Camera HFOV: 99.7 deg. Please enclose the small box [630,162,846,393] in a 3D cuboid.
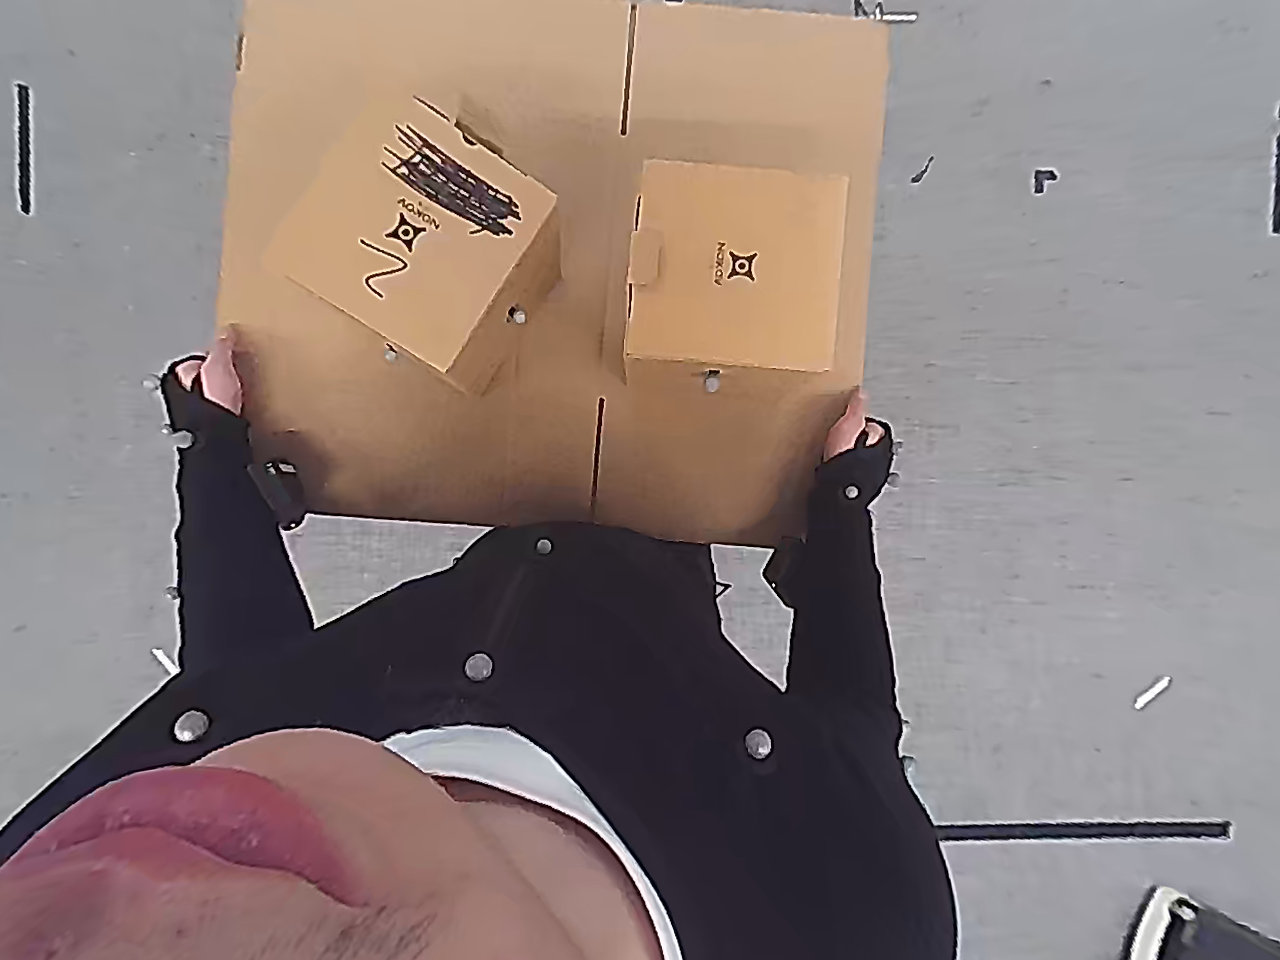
[{"bbox_3d":[0.085,-0.185,0.545,0.179,0.176,0.168,4,90,1],"label":"small box"}]
